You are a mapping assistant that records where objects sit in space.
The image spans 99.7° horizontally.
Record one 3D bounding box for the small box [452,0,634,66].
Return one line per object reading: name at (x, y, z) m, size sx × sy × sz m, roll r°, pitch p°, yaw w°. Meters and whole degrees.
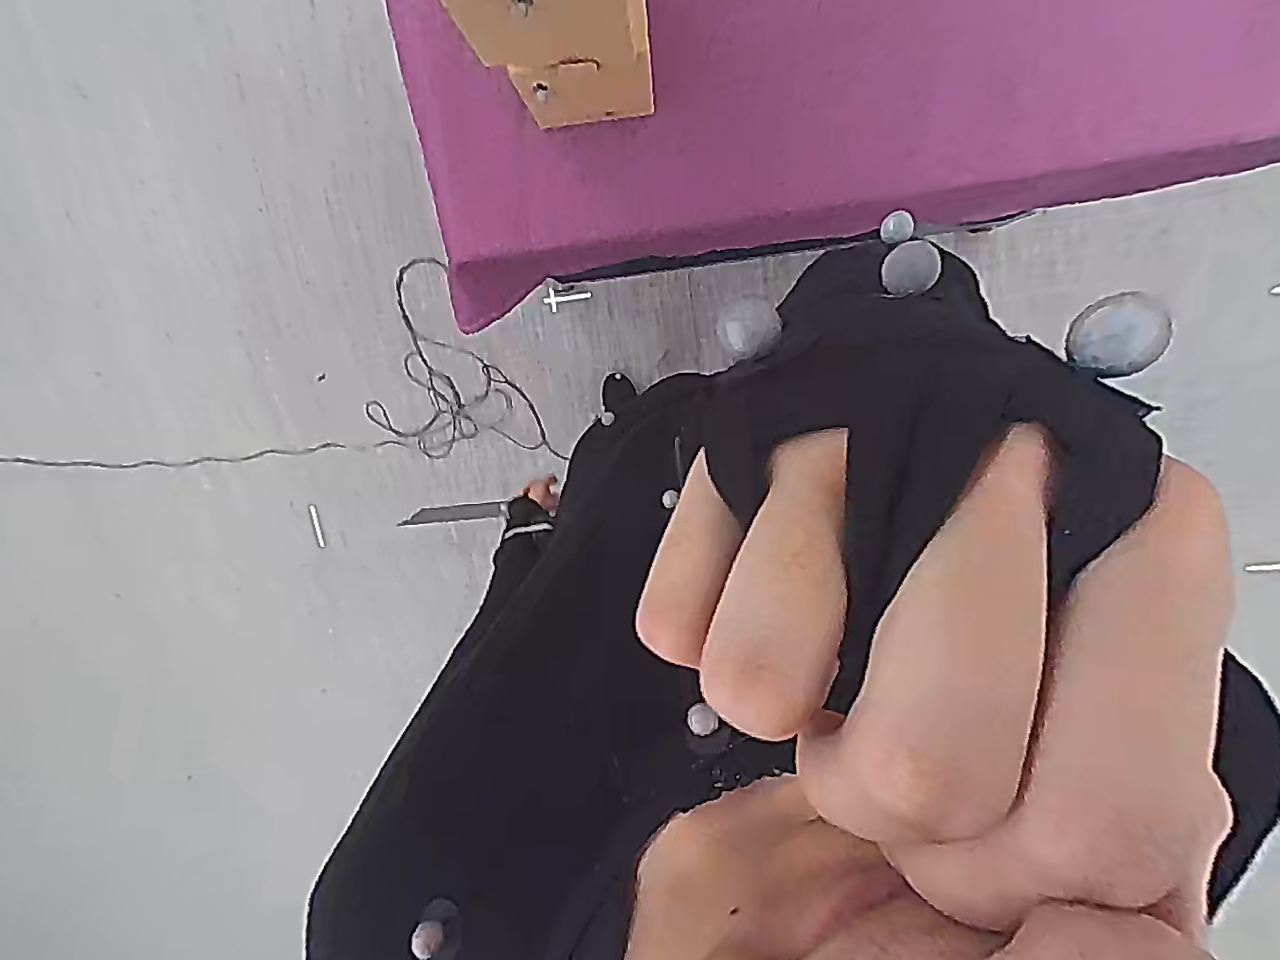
small box at (-0.097, -0.529, 0.518) m, size 0.179 × 0.176 × 0.168 m, roll 1°, pitch 104°, yaw 2°
